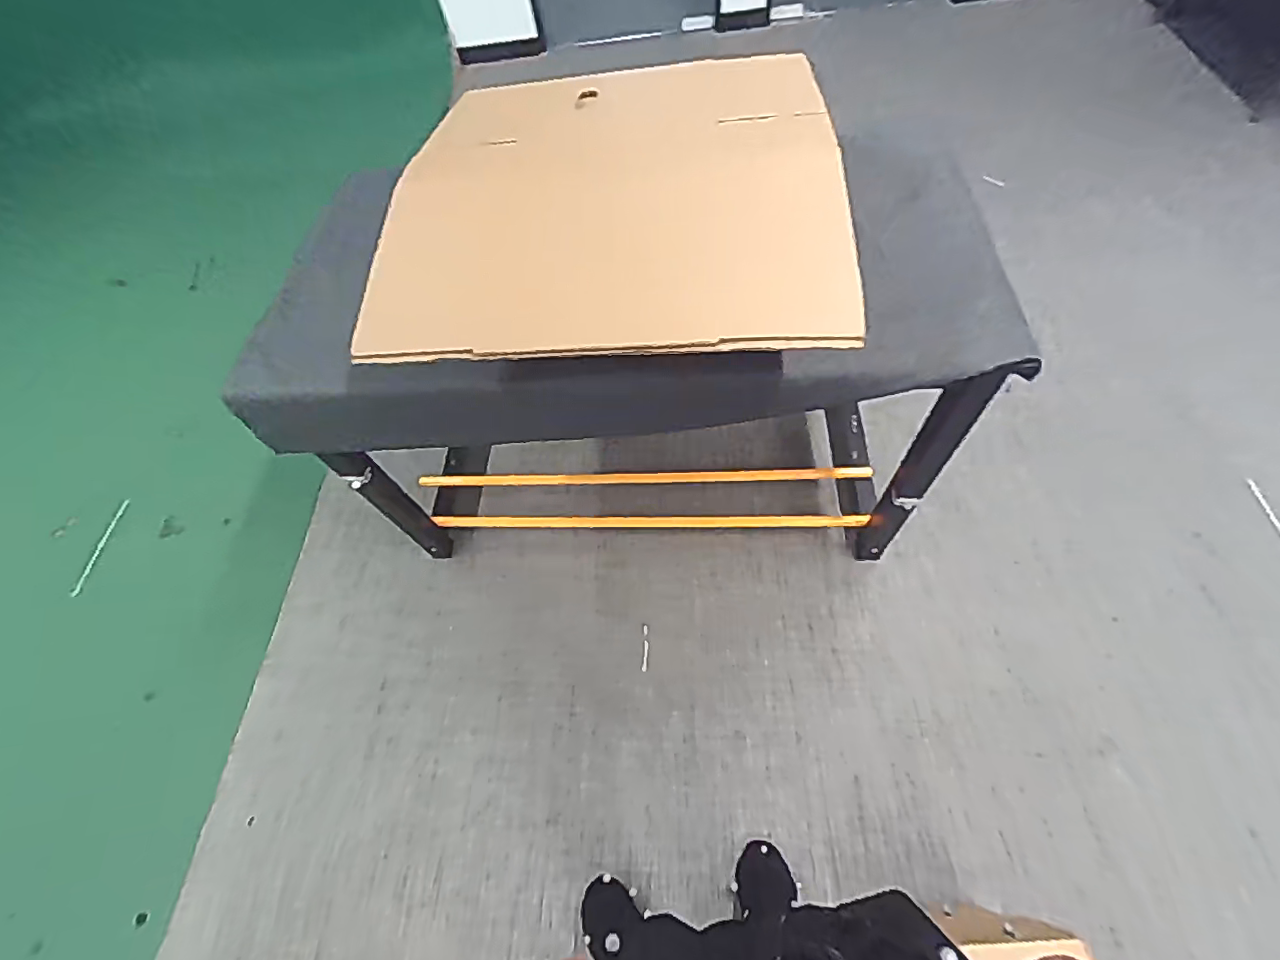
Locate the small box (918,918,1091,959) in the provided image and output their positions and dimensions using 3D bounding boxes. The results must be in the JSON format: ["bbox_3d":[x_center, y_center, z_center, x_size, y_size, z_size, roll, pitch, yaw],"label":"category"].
[{"bbox_3d":[0.532,0.743,0.767,0.179,0.176,0.168,-7,58,3],"label":"small box"}]

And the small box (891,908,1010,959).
[{"bbox_3d":[0.544,0.836,0.902,0.168,0.176,0.179,-7,58,3],"label":"small box"}]
